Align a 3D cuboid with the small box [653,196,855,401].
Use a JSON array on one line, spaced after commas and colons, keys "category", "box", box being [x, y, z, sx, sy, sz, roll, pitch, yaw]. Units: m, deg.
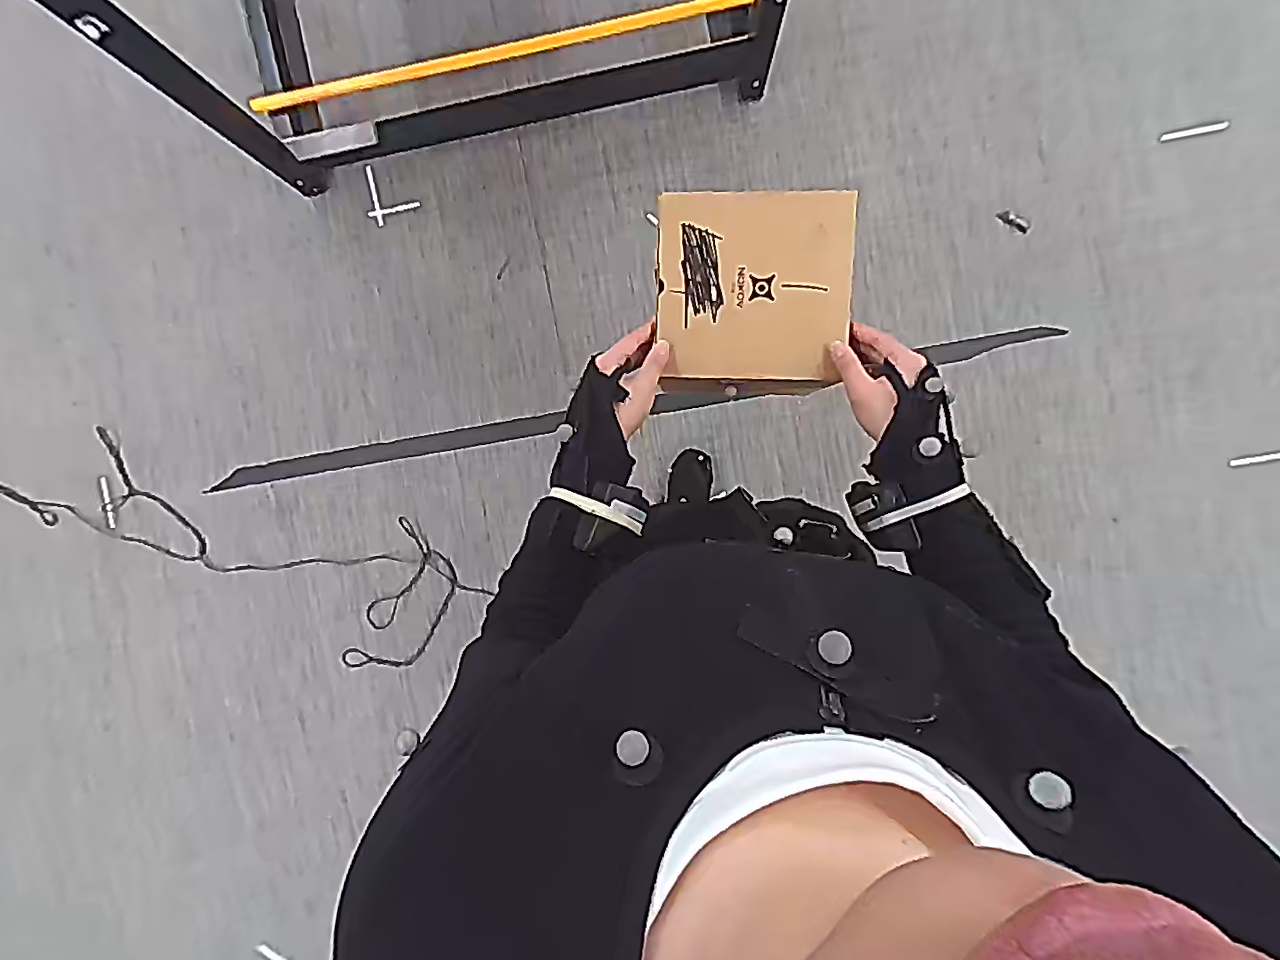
[{"category": "small box", "box": [0.110, -0.175, 0.570, 0.179, 0.176, 0.168, 2, 92, 6]}]
